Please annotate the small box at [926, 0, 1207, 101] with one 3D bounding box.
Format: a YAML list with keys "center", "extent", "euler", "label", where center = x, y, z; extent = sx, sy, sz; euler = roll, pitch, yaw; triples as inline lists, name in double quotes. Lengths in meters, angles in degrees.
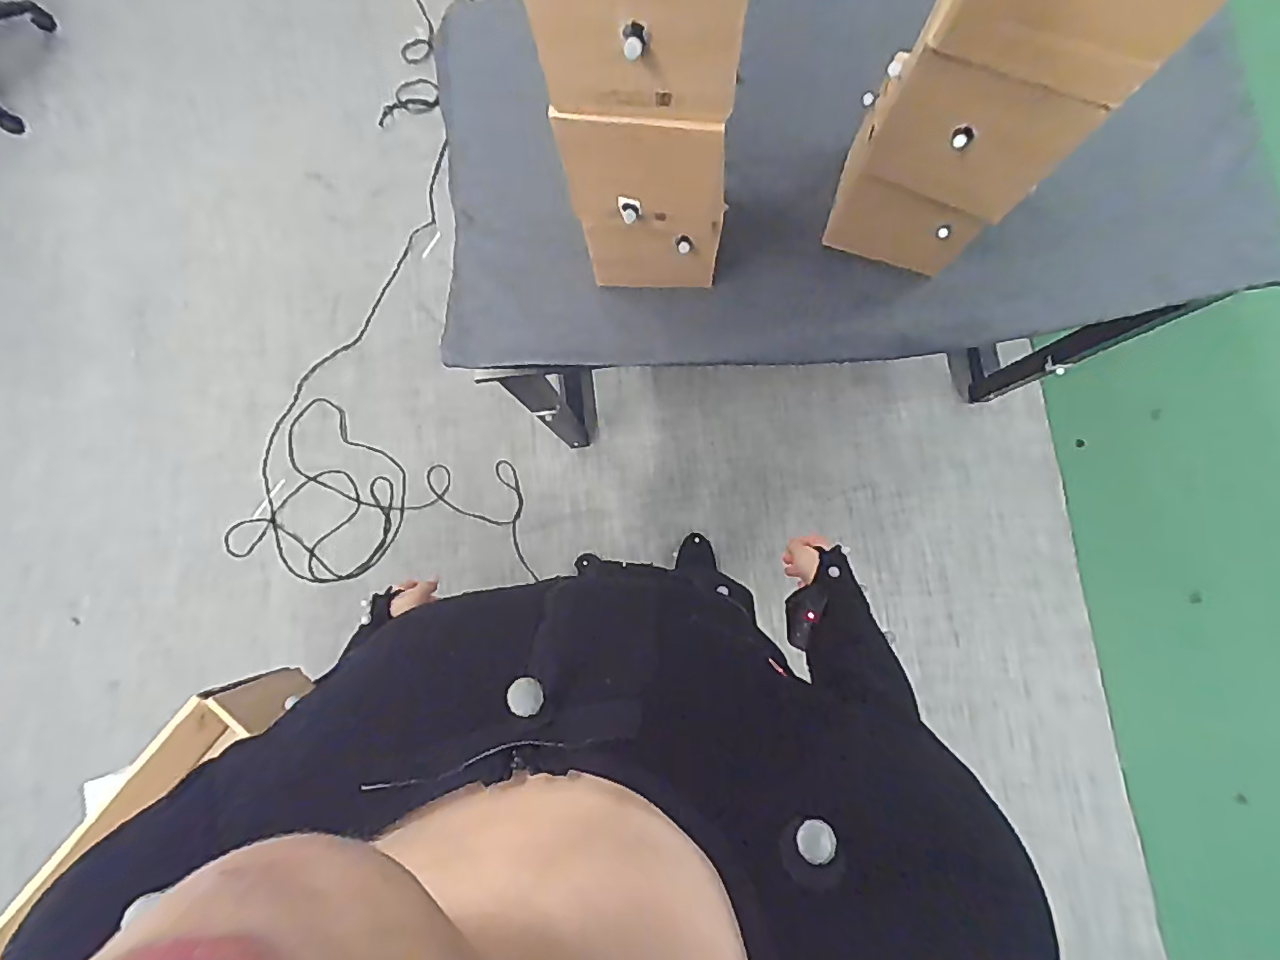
- center: [0.354, -0.436, 0.406]
  extent: [0.179, 0.176, 0.168]
  euler: [23, 84, 4]
  label: "small box"

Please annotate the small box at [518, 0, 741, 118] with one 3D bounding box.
- center: [0.001, -0.422, 0.422]
  extent: [0.168, 0.176, 0.179]
  euler: [6, 84, 4]
  label: "small box"

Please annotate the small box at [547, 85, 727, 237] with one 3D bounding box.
- center: [0.009, -0.396, 0.584]
  extent: [0.168, 0.176, 0.179]
  euler: [7, 84, 5]
  label: "small box"

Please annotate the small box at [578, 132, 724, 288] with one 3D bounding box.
- center: [0.017, -0.380, 0.745]
  extent: [0.179, 0.176, 0.168]
  euler: [2, 83, 3]
  label: "small box"

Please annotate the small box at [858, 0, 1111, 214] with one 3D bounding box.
- center: [0.364, -0.416, 0.567]
  extent: [0.179, 0.176, 0.168]
  euler: [25, 84, 5]
  label: "small box"
